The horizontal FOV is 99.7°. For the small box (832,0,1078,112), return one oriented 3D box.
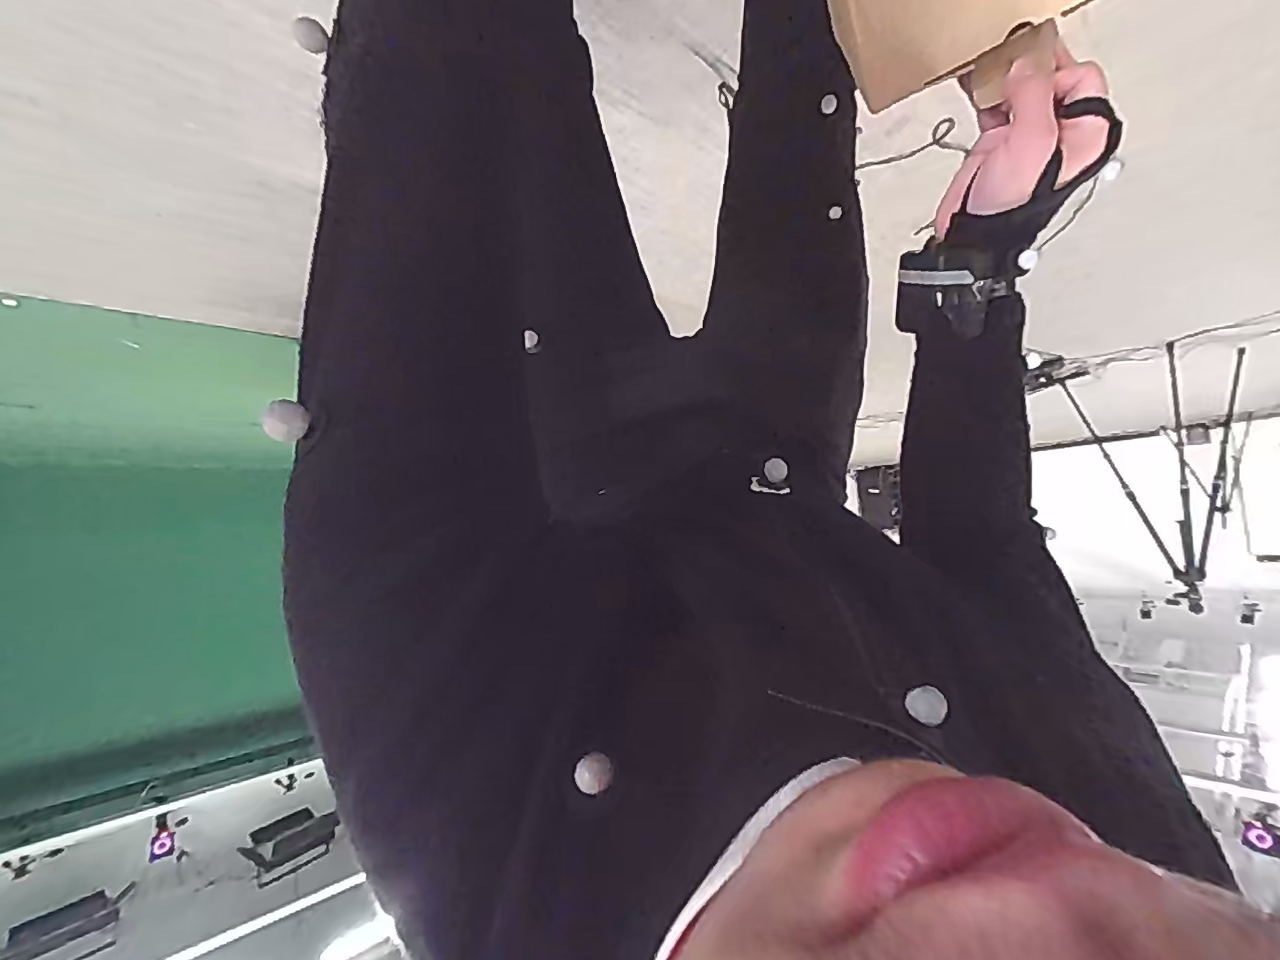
[{"bbox_3d":[0.184,-0.374,0.312,0.168,0.176,0.179,-17,137,30],"label":"small box"}]
